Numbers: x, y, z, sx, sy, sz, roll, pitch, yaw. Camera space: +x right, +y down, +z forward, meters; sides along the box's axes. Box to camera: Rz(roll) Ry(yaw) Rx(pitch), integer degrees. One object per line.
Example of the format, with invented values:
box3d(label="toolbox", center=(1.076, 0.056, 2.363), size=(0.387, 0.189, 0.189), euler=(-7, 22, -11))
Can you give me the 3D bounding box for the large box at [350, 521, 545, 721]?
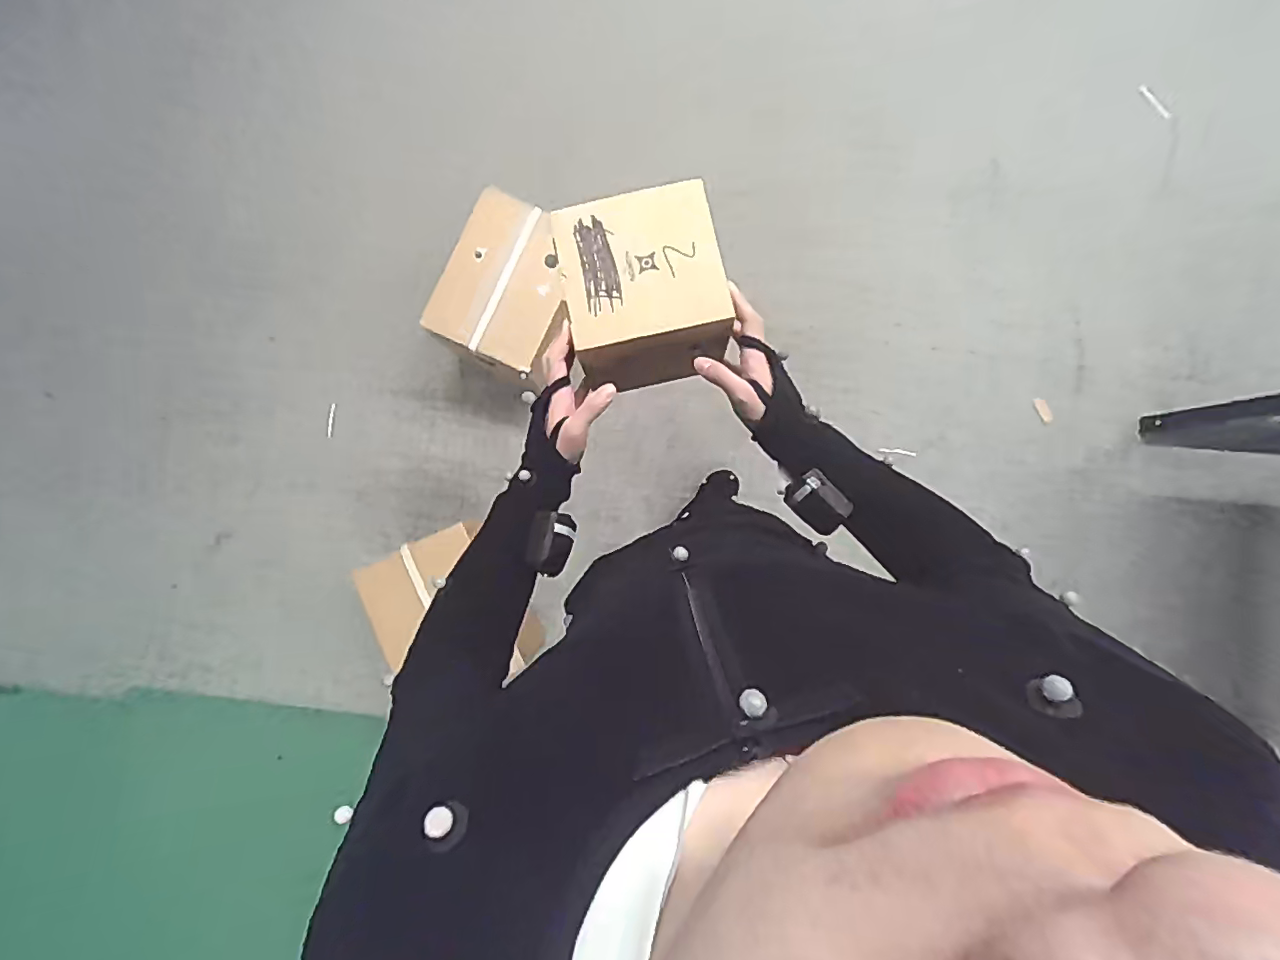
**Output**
box3d(label="large box", center=(-0.502, 0.359, 1.488), size=(0.320, 0.320, 0.408), euler=(-25, 88, -1))
